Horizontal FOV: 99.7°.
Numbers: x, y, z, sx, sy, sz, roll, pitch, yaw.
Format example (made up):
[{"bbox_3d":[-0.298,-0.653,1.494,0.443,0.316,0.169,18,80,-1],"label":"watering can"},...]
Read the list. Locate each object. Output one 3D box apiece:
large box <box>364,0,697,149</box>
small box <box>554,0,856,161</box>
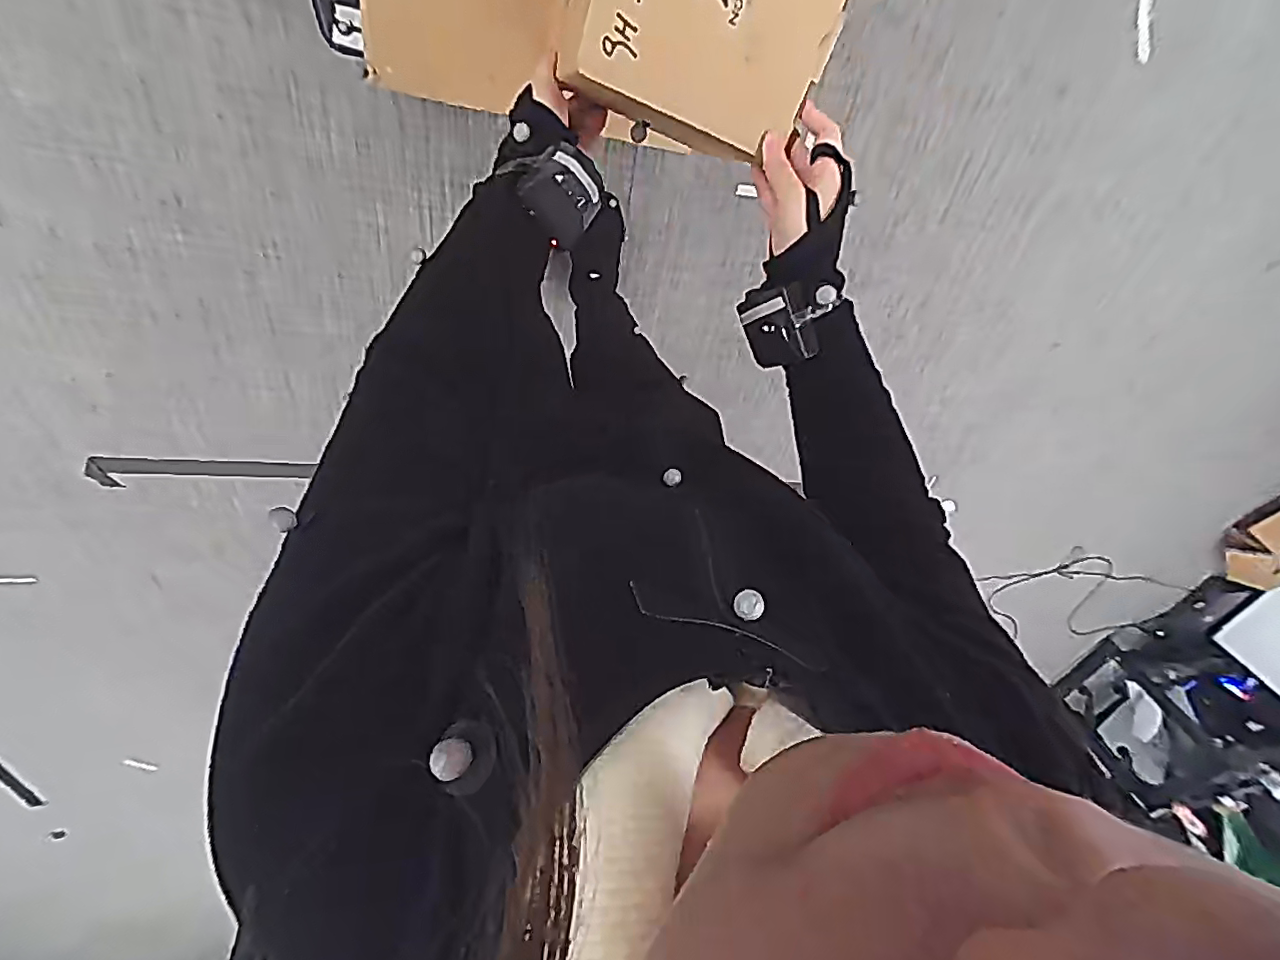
[{"bbox_3d":[-0.114,-0.659,0.696,0.408,0.320,0.320,3,127,-15],"label":"large box"},{"bbox_3d":[0.045,-0.376,0.420,0.179,0.176,0.168,10,119,-23],"label":"small box"}]
